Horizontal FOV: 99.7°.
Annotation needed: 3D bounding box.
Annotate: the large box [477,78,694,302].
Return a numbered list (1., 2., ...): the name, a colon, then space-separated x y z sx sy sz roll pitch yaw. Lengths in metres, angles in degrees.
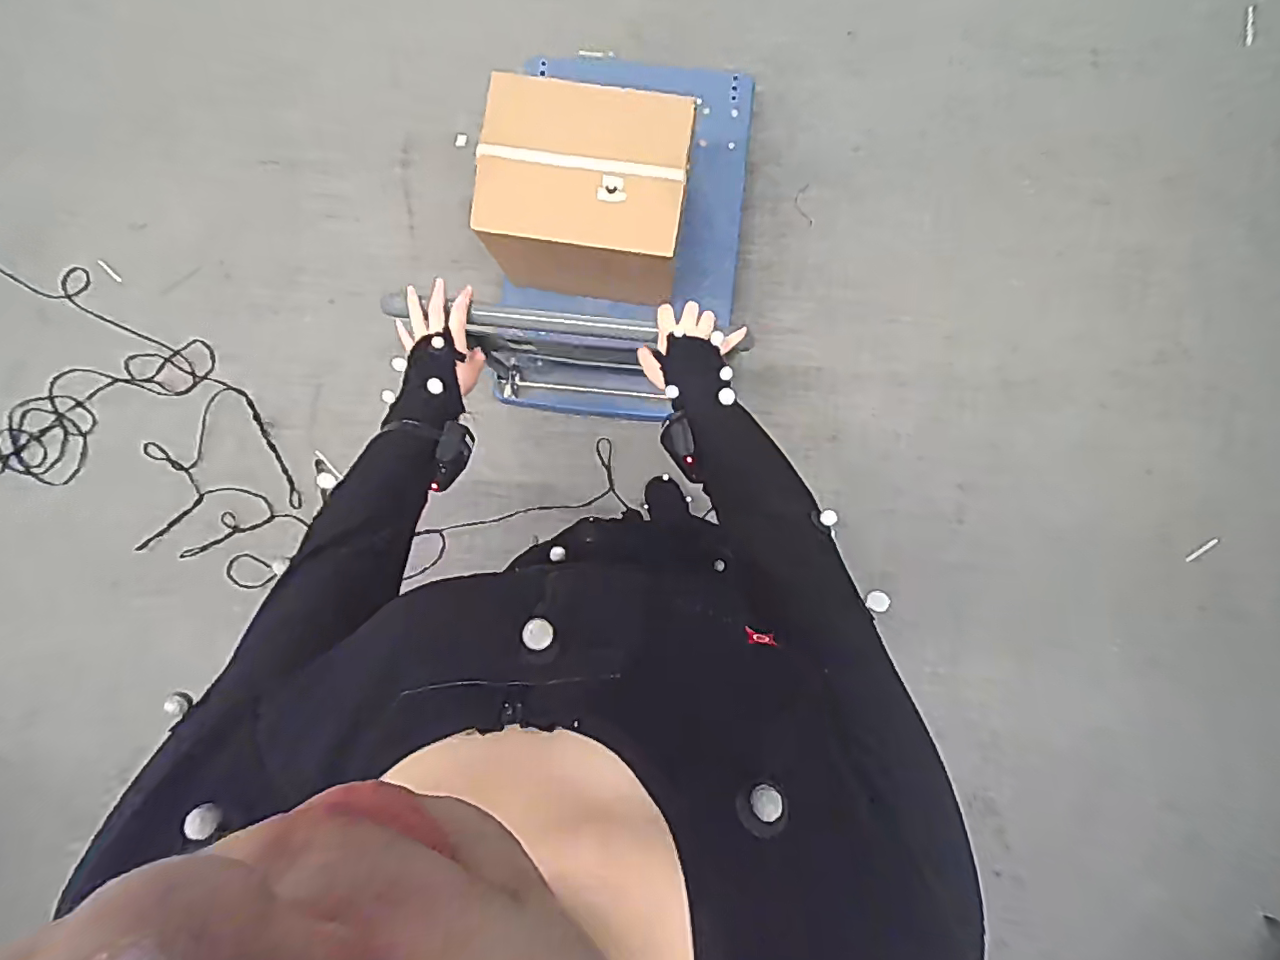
1. large box: -0.109 -0.620 1.213 0.408 0.320 0.320 8 90 1
